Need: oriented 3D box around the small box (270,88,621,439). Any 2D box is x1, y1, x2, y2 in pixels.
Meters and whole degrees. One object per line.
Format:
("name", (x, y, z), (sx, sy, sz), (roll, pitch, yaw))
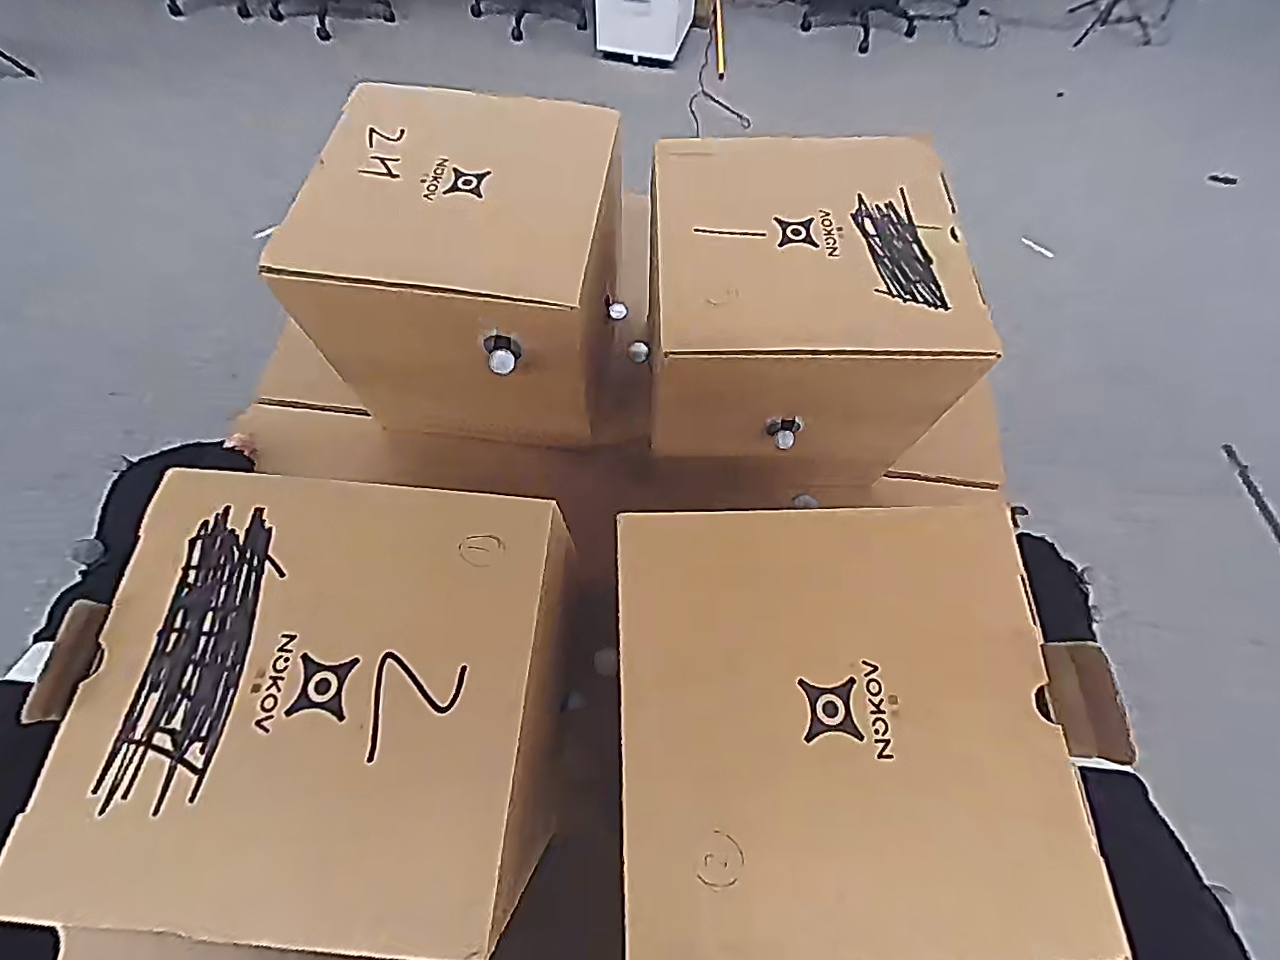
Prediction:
("small box", (-0.111, -0.145, 0.402), (0.179, 0.176, 0.168), (8, 65, 3))
